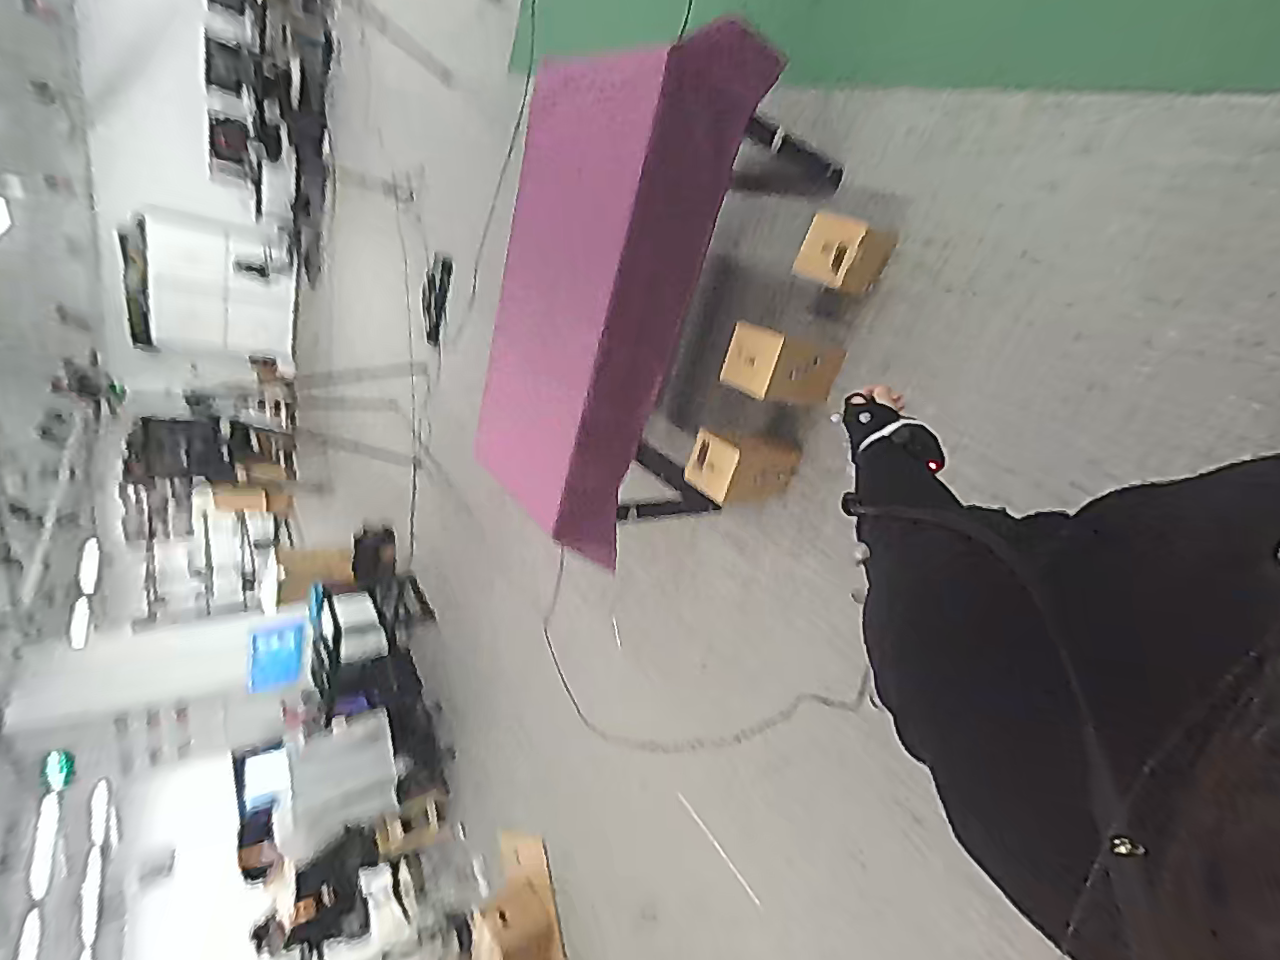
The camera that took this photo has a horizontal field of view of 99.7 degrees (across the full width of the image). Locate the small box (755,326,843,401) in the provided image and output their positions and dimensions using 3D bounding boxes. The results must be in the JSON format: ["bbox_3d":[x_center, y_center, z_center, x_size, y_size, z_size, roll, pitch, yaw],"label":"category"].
[{"bbox_3d":[0.494,-0.355,1.671,0.168,0.176,0.179,39,120,42],"label":"small box"}]
